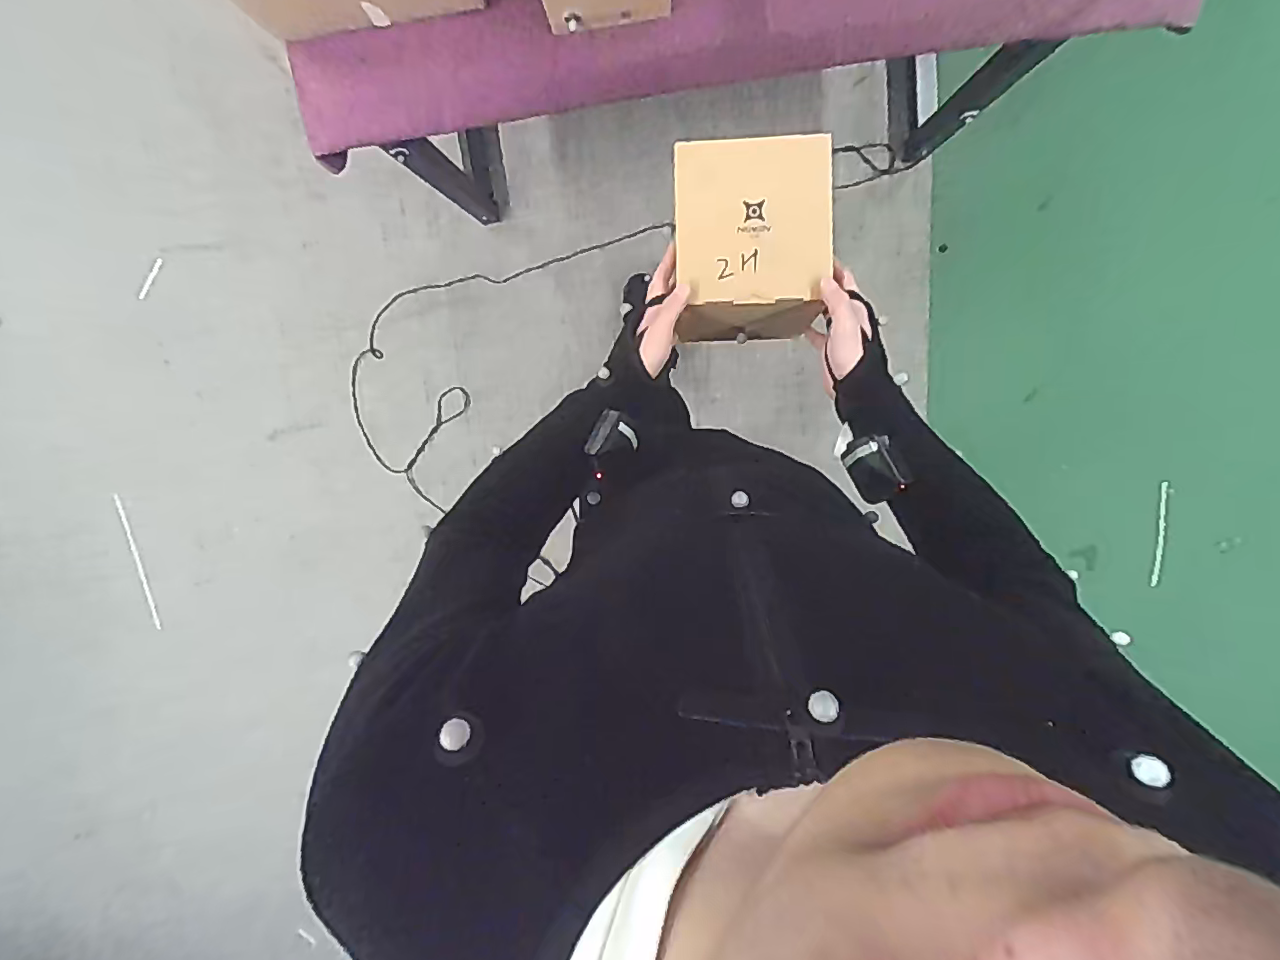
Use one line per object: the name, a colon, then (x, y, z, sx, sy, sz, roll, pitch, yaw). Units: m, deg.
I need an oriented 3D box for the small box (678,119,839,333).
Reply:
small box: (0.129, -0.285, 0.641, 0.168, 0.176, 0.179, 0, 91, 5)
